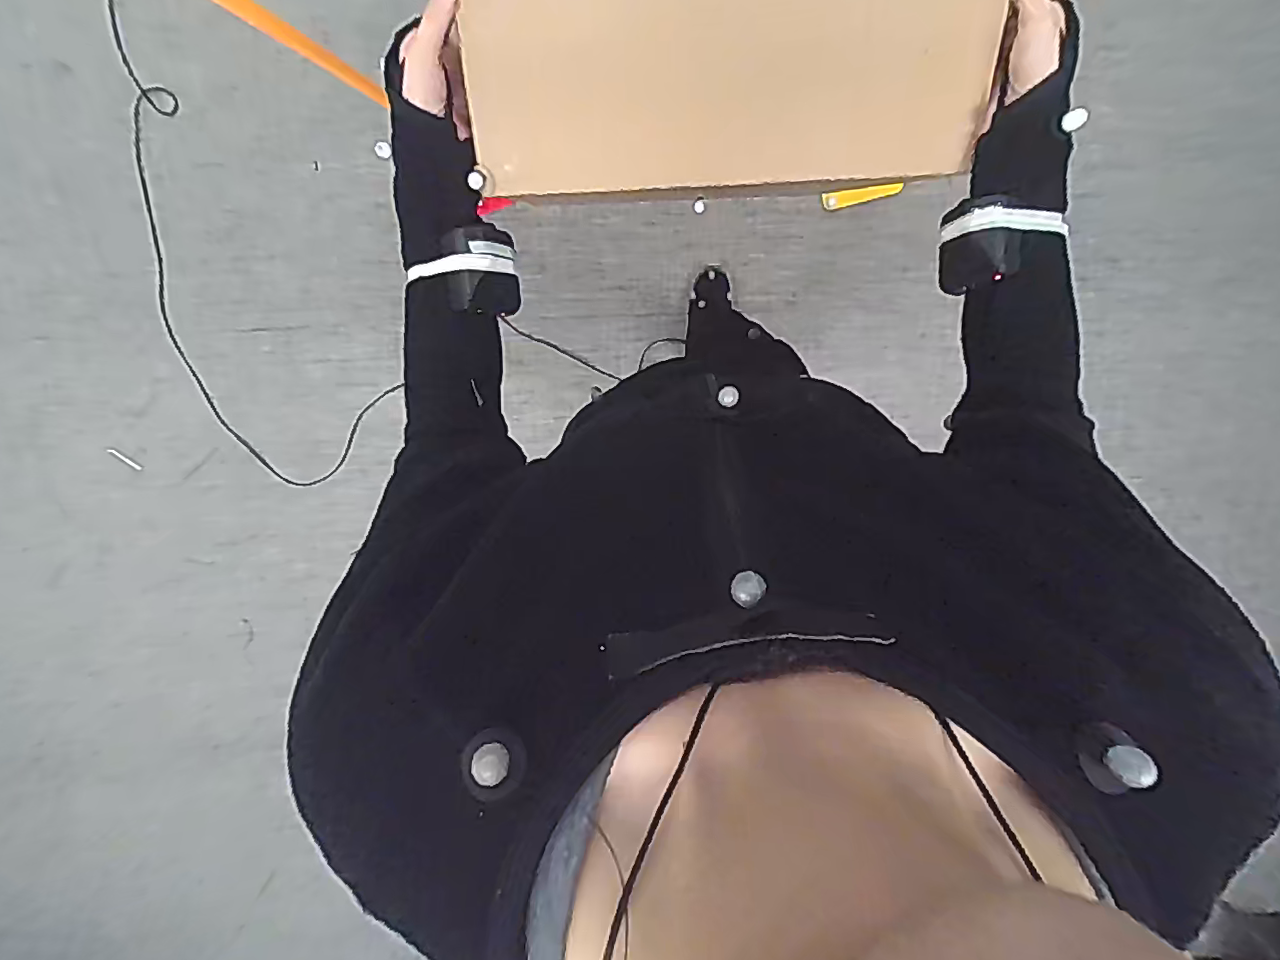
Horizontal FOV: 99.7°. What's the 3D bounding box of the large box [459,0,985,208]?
[{"bbox_3d":[0.058,-0.451,0.524,0.408,0.320,0.320,-4,114,-1],"label":"large box"}]
